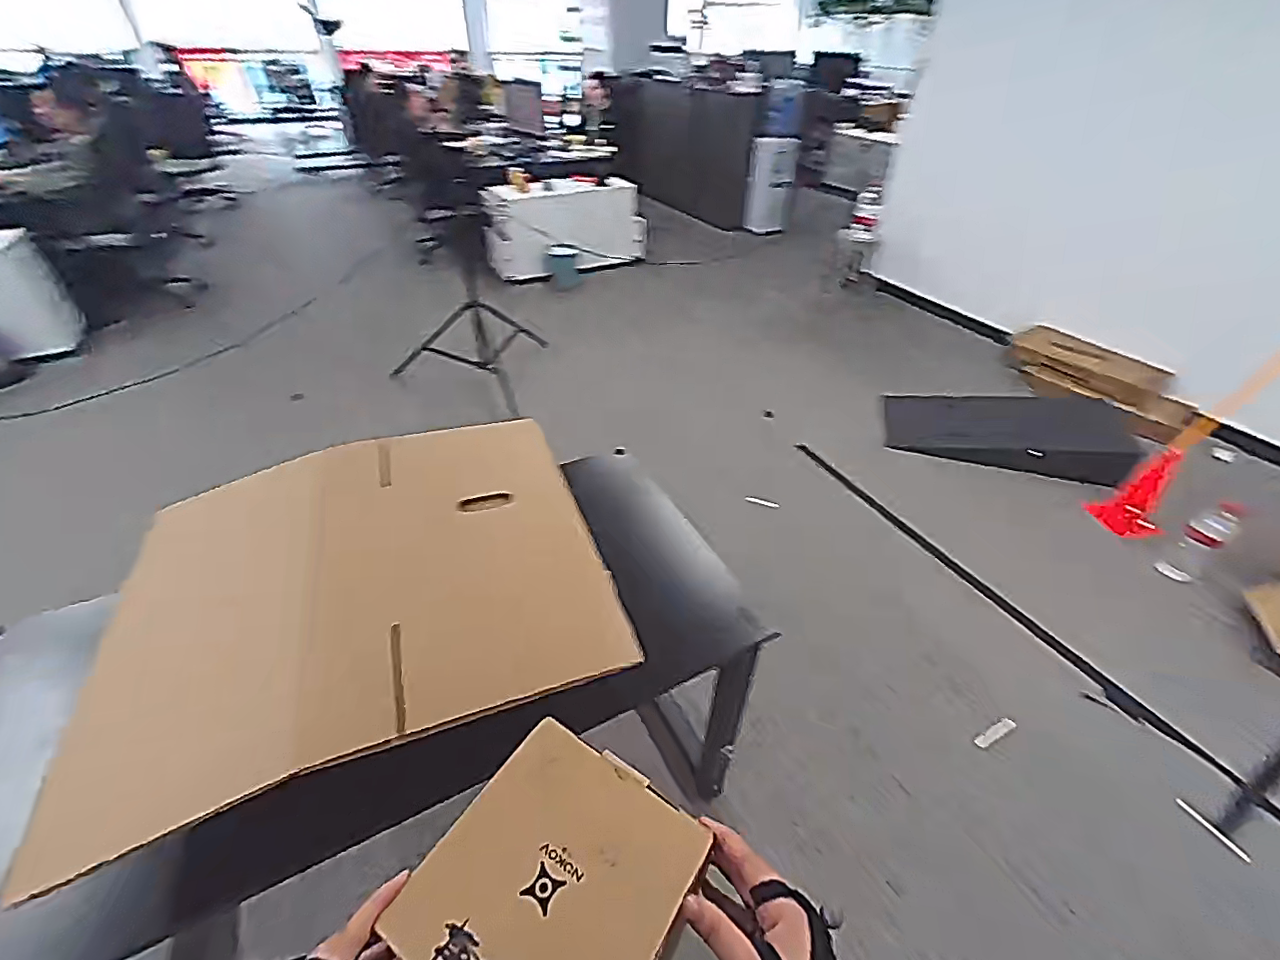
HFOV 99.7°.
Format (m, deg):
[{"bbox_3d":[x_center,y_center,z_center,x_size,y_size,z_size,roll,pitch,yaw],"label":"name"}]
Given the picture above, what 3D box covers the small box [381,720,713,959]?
[{"bbox_3d":[-0.060,0.340,0.425,0.168,0.176,0.179,20,41,26],"label":"small box"}]
